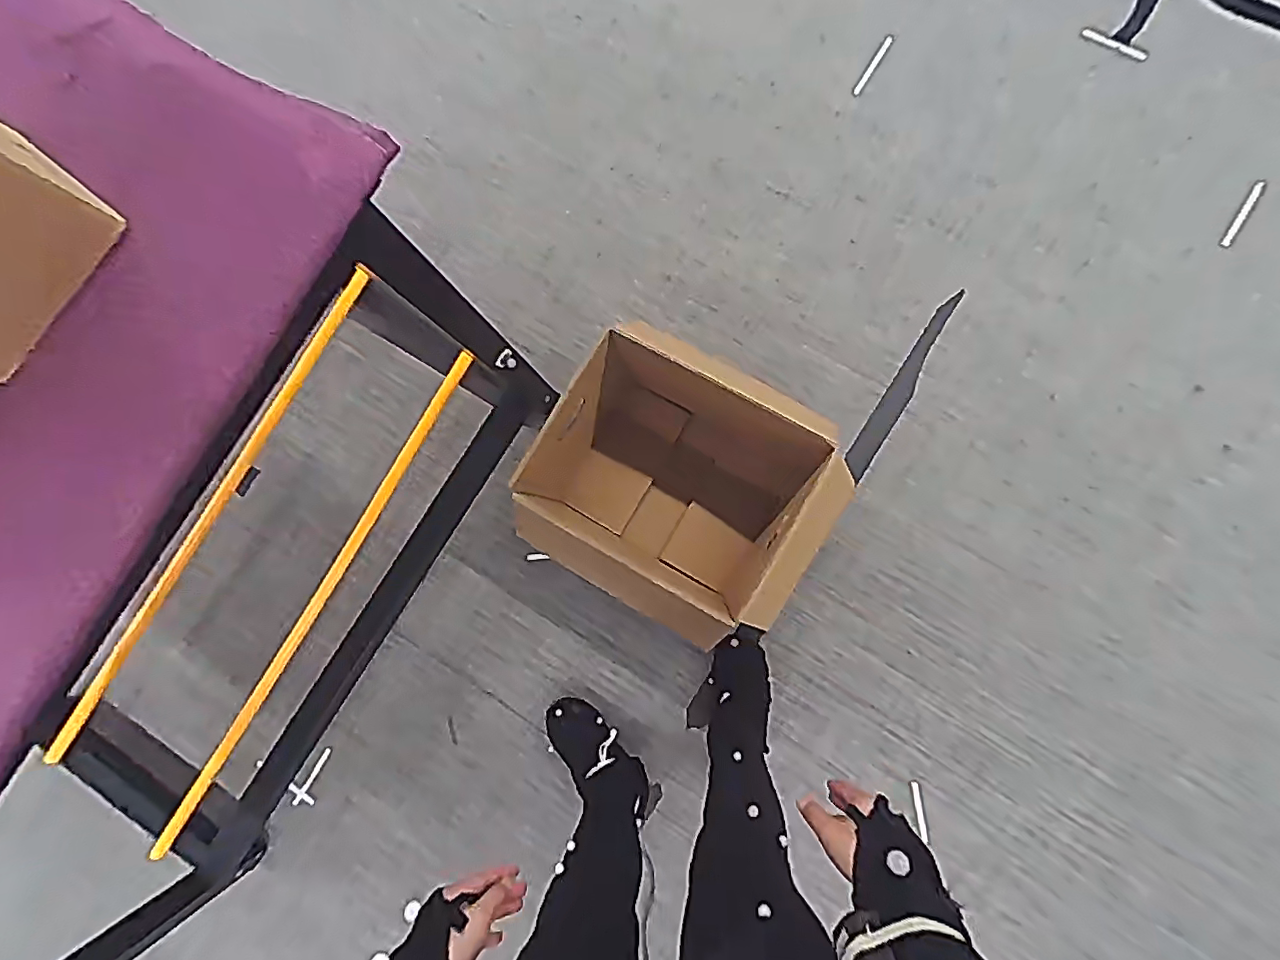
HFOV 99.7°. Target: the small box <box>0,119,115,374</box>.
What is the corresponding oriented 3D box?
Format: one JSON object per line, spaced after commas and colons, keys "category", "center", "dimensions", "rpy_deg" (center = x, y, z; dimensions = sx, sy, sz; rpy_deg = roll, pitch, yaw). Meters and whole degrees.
{"category": "small box", "center": [-0.556, -0.209, 0.397], "dimensions": [0.168, 0.176, 0.179], "rpy_deg": [37, 89, 9]}
